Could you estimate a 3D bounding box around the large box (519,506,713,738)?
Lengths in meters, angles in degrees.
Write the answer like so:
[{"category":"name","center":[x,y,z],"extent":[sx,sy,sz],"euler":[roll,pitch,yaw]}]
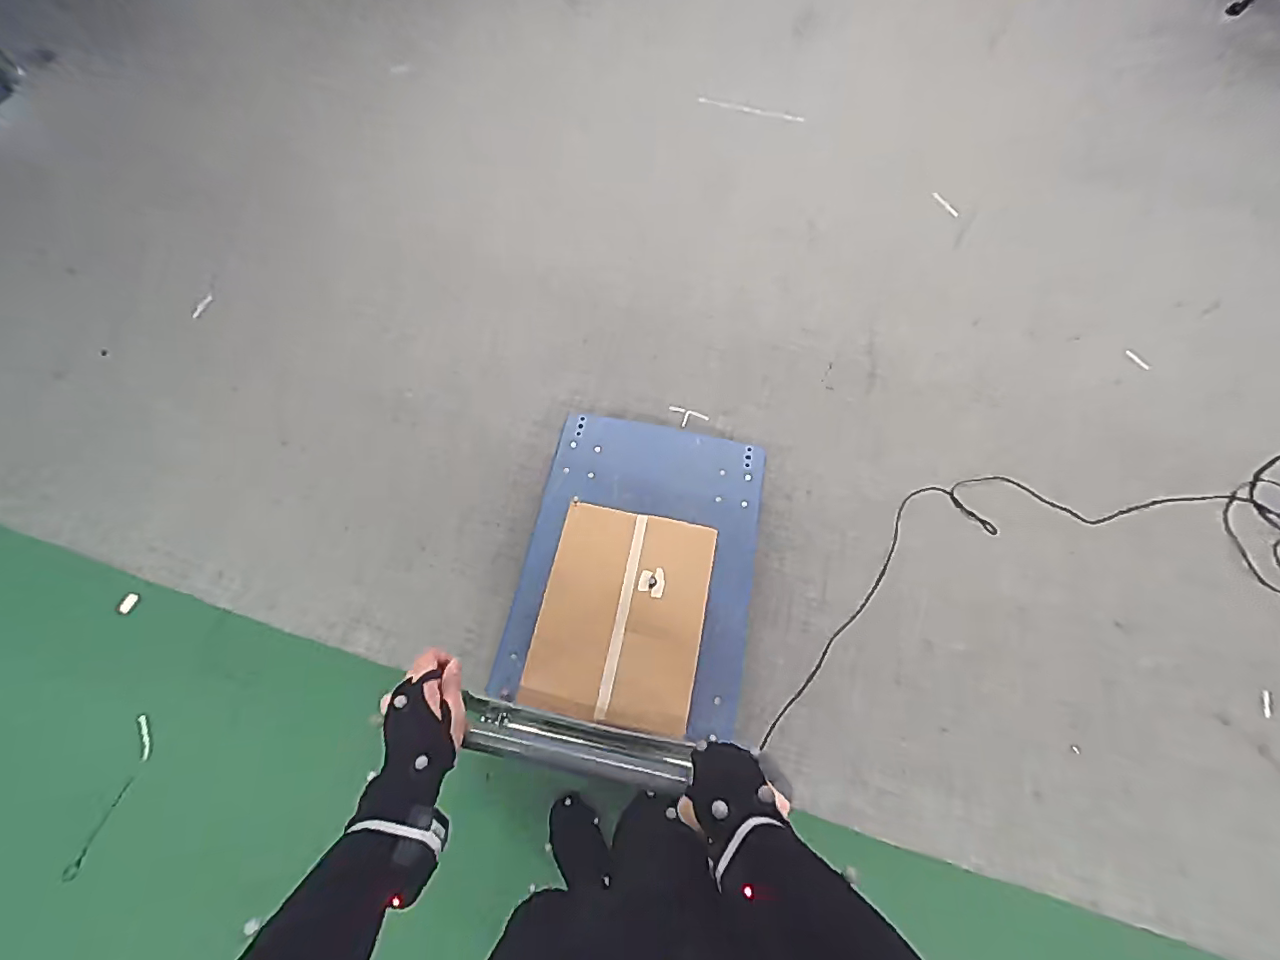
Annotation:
[{"category":"large box","center":[-0.035,0.318,1.177],"extent":[0.320,0.320,0.408],"euler":[11,66,4]}]
